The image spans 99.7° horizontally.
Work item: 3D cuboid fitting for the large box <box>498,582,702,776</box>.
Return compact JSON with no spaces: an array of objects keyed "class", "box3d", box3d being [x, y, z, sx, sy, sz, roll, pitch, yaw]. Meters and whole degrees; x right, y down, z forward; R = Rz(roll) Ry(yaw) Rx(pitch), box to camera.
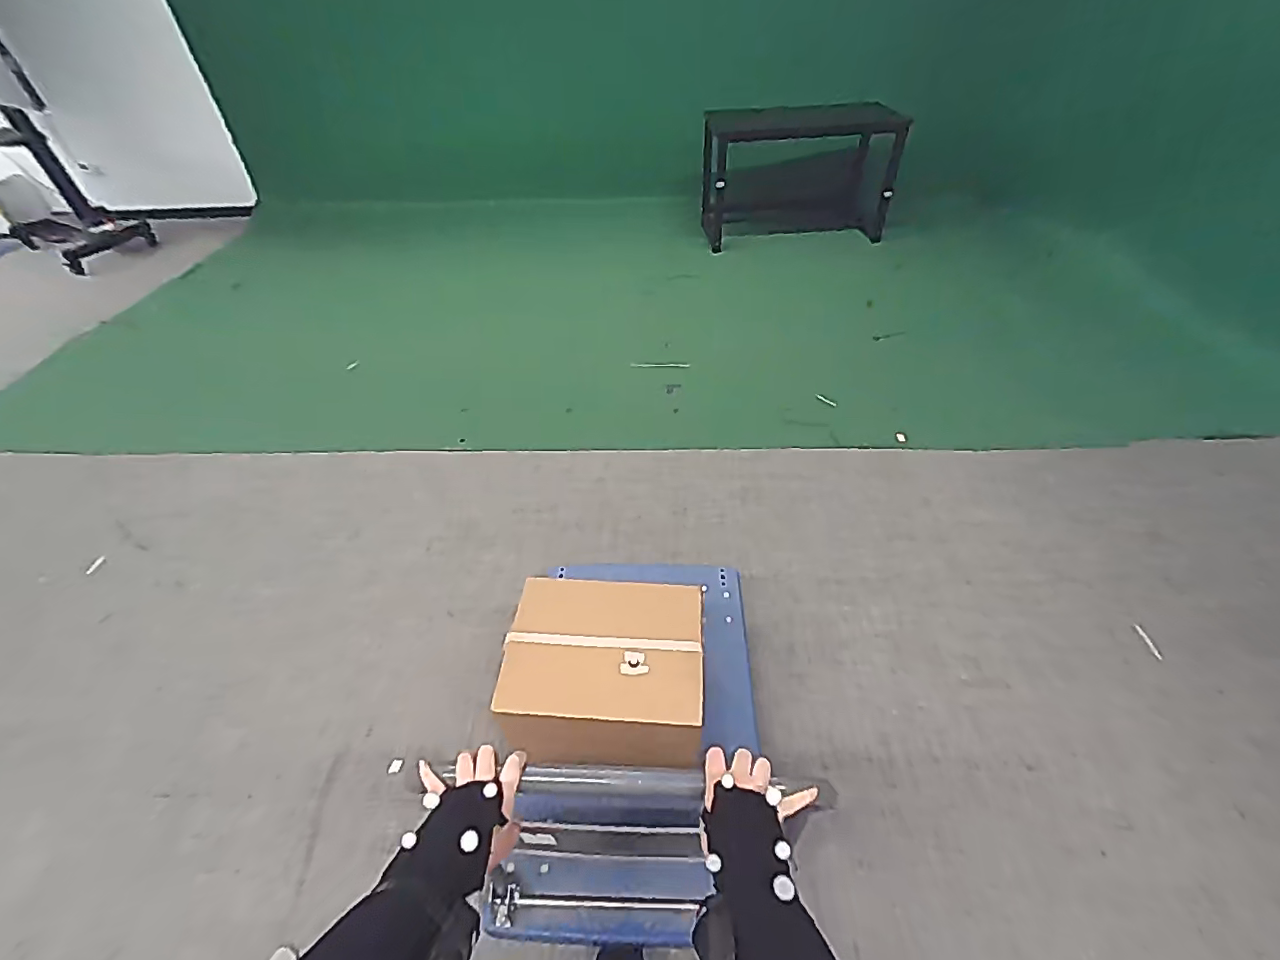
[{"class":"large box","box3d":[-0.072,0.457,1.247,0.408,0.320,0.320,3,44,3]}]
